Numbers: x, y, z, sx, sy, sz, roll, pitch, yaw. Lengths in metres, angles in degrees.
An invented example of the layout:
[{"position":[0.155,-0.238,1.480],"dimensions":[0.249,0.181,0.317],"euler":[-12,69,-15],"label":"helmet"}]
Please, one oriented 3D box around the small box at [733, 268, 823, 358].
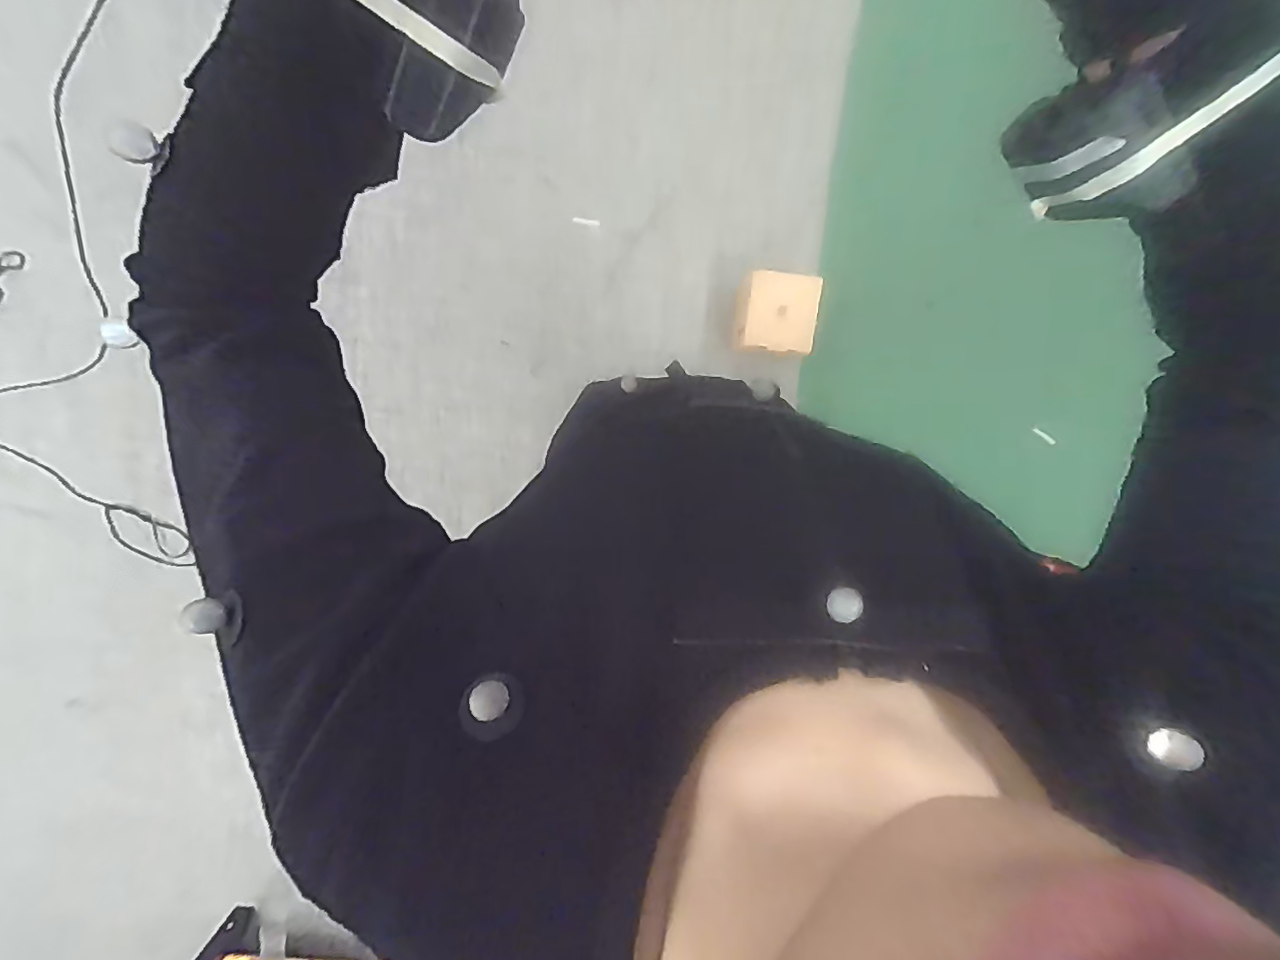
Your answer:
[{"position":[0.333,-0.407,1.339],"dimensions":[0.168,0.176,0.179],"euler":[6,99,-2],"label":"small box"}]
